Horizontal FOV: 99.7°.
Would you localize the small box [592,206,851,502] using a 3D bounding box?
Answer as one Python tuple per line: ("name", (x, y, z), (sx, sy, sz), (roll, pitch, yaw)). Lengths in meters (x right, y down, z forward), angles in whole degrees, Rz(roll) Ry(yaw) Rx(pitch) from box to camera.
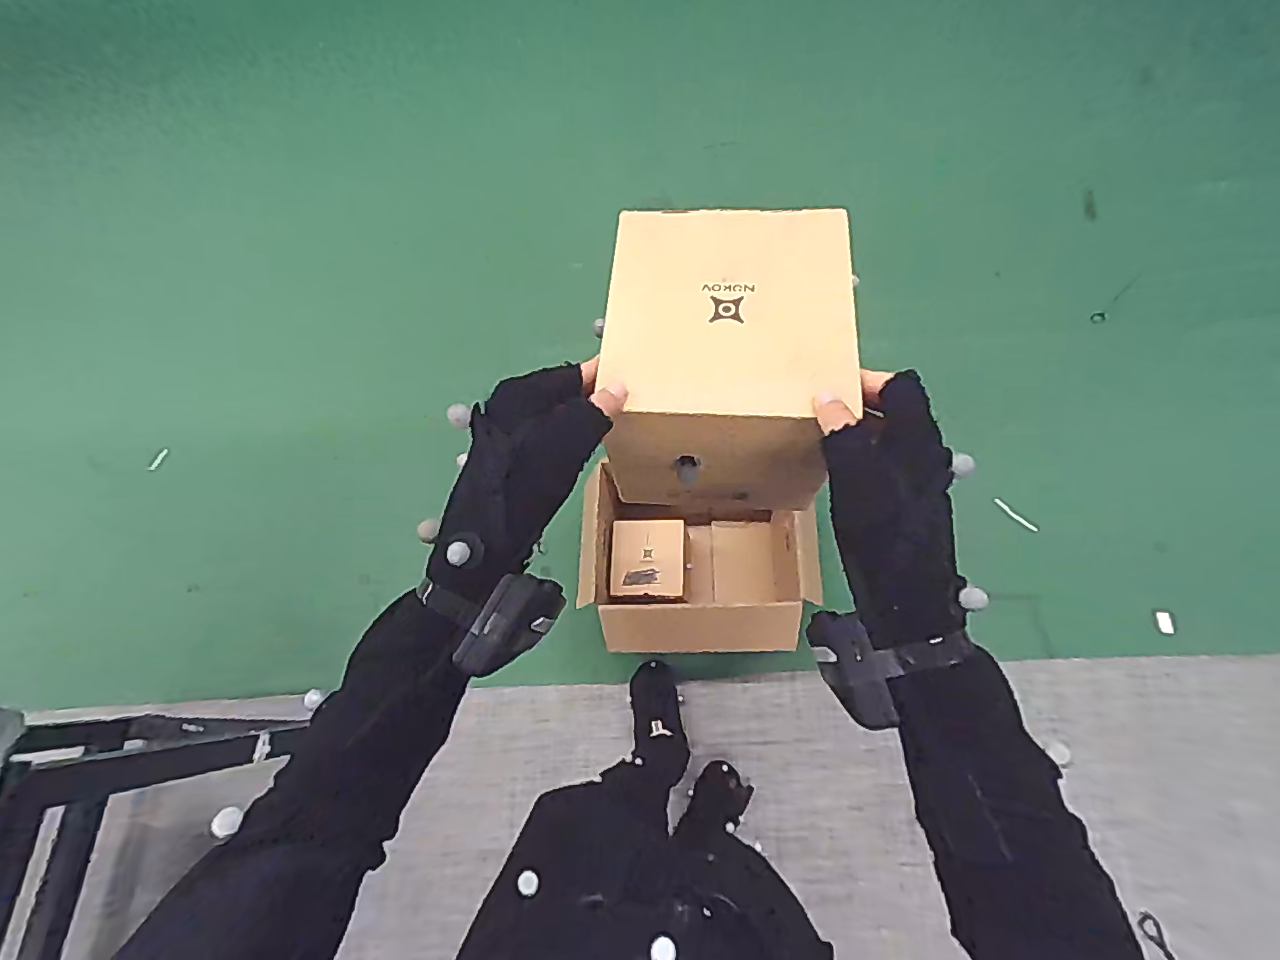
("small box", (0.065, -0.091, 0.443), (0.168, 0.176, 0.179), (3, 66, 7))
